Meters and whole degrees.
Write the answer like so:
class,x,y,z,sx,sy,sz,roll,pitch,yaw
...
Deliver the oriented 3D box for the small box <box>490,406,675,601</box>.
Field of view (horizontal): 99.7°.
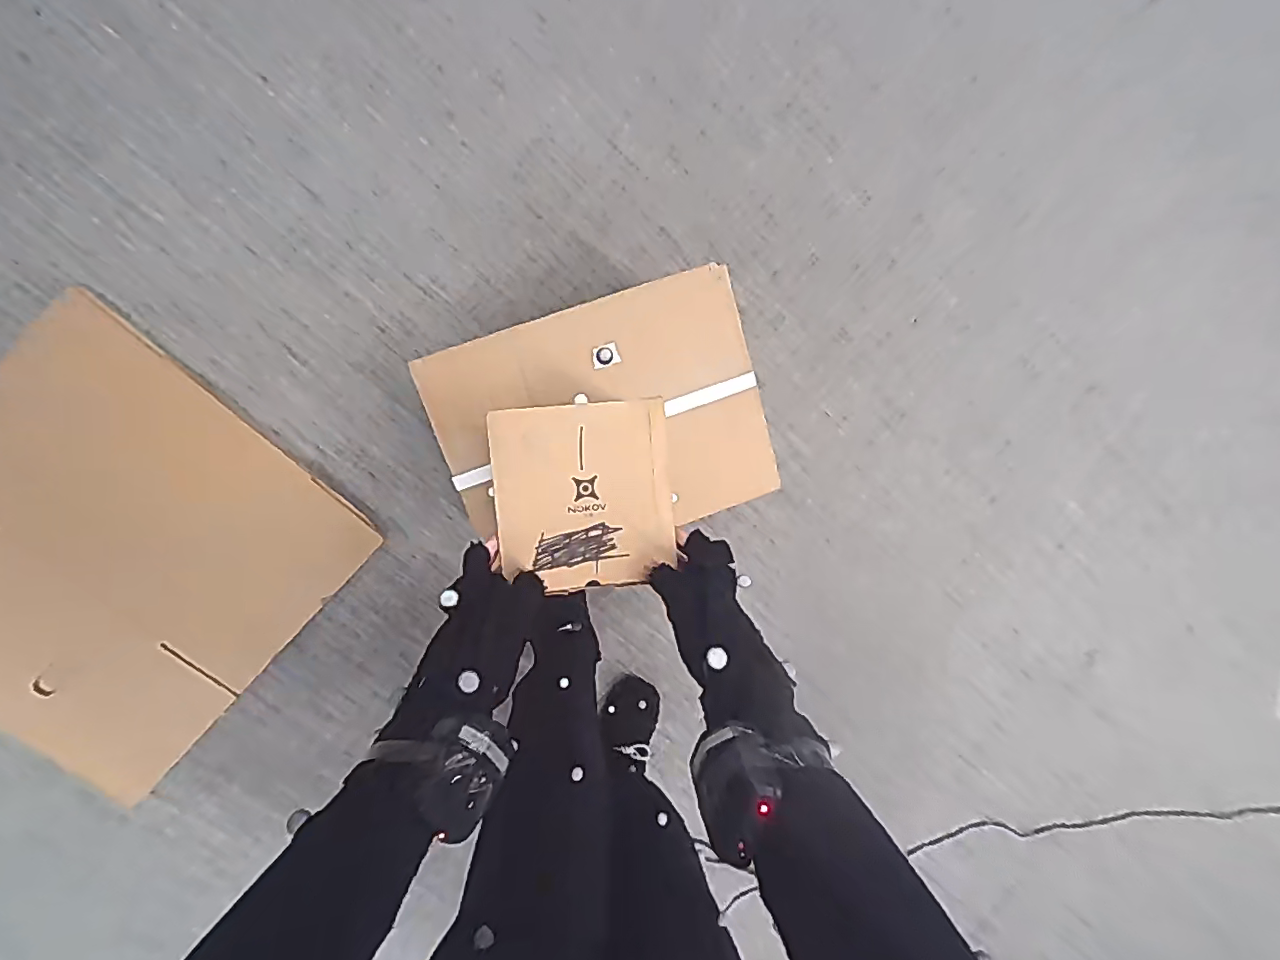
class,x,y,z,sx,sy,sz,roll,pitch,yaw
small box,-0.059,0.017,0.587,0.168,0.176,0.179,-5,93,-6
